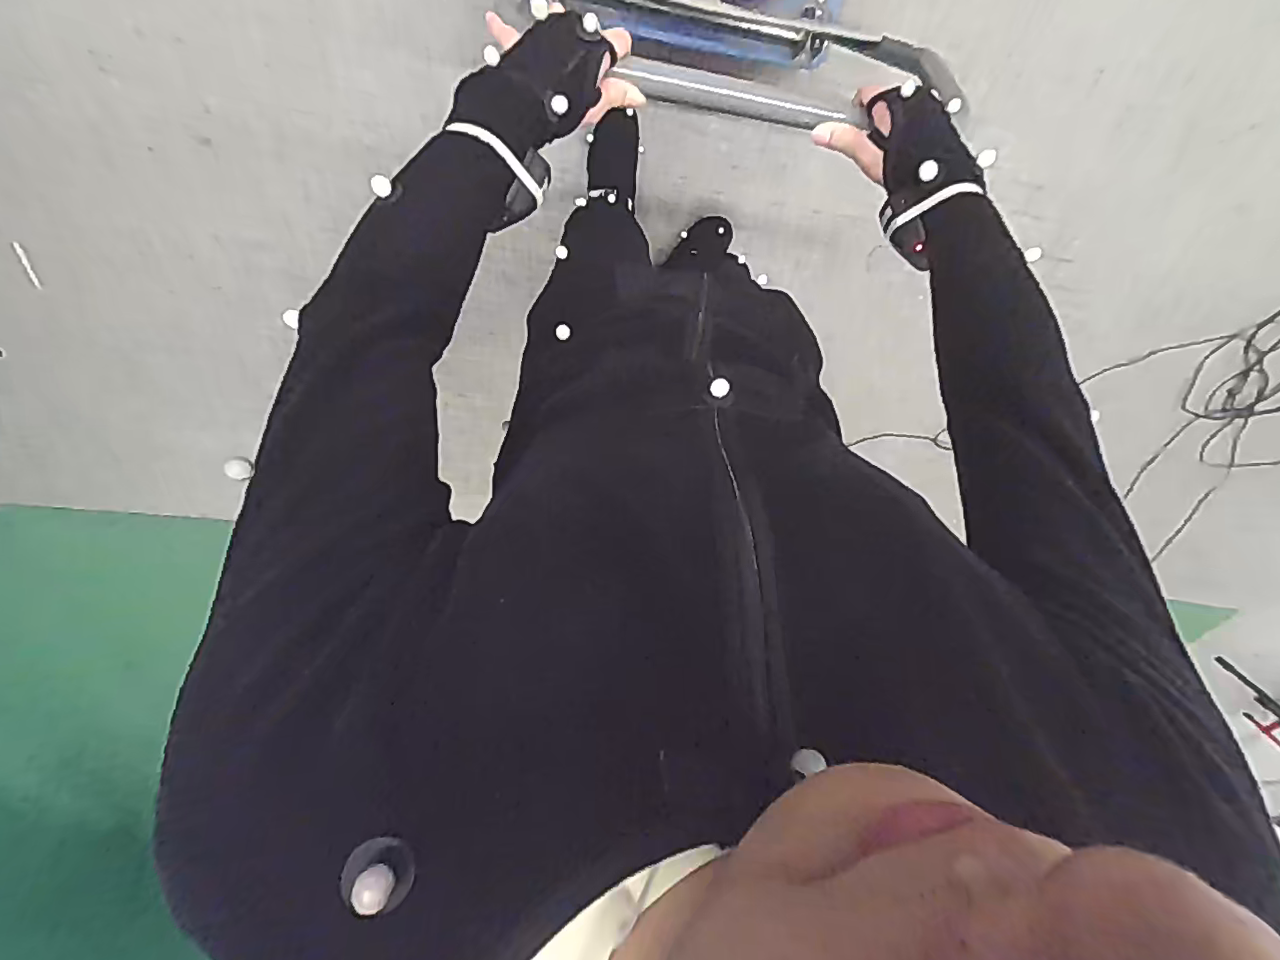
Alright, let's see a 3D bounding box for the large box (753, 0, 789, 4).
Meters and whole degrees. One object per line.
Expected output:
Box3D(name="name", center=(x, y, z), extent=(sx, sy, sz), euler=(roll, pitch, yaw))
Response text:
Box3D(name="large box", center=(0.132, -0.936, 0.729), extent=(0.320, 0.320, 0.408), euler=(5, 129, -8))
